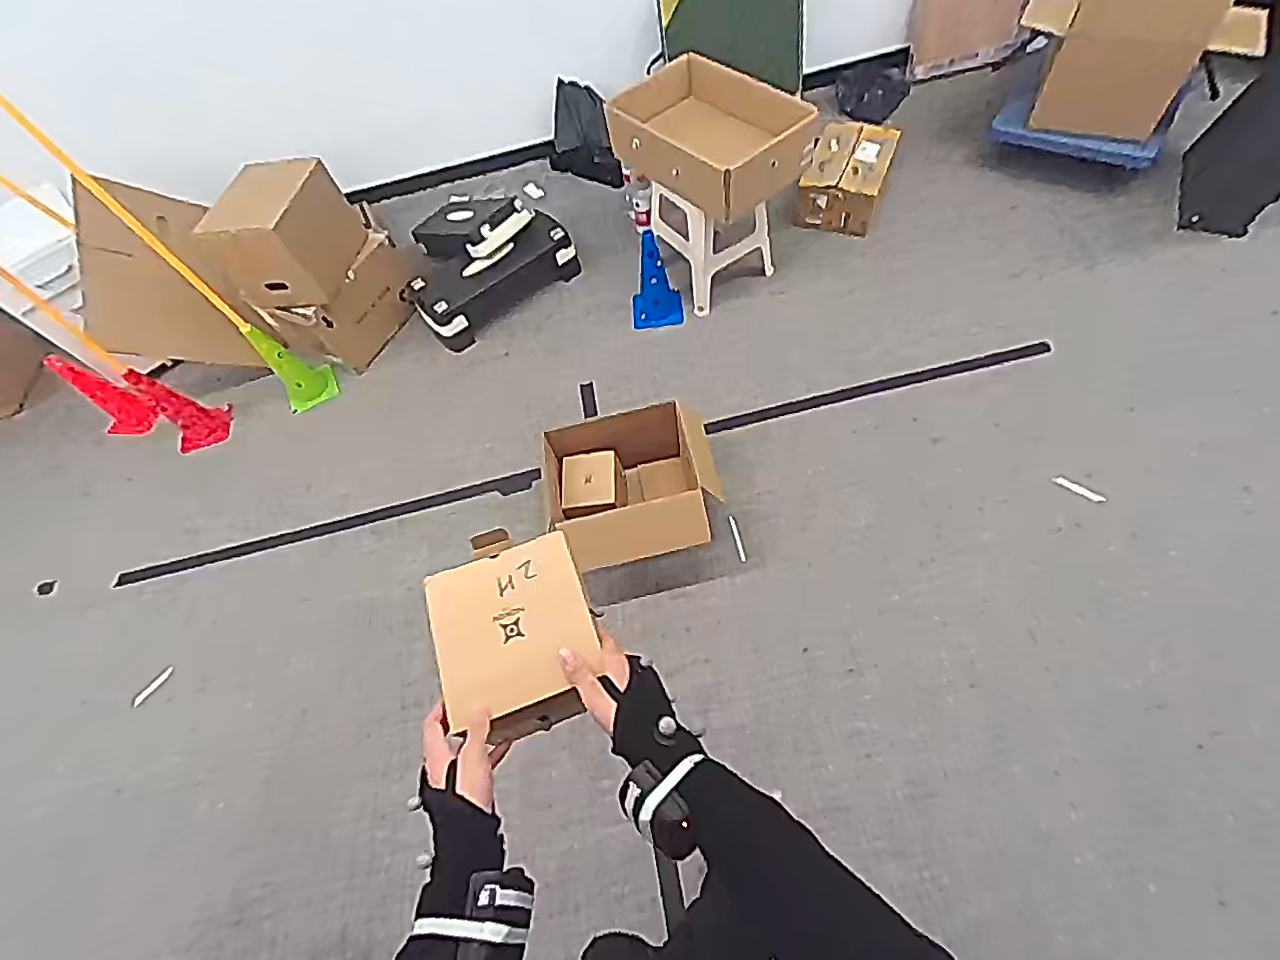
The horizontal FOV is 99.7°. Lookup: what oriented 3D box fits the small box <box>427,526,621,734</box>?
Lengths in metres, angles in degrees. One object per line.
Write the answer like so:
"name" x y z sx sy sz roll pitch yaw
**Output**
"small box" -0.127 0.185 0.638 0.168 0.176 0.179 -19 61 -7
